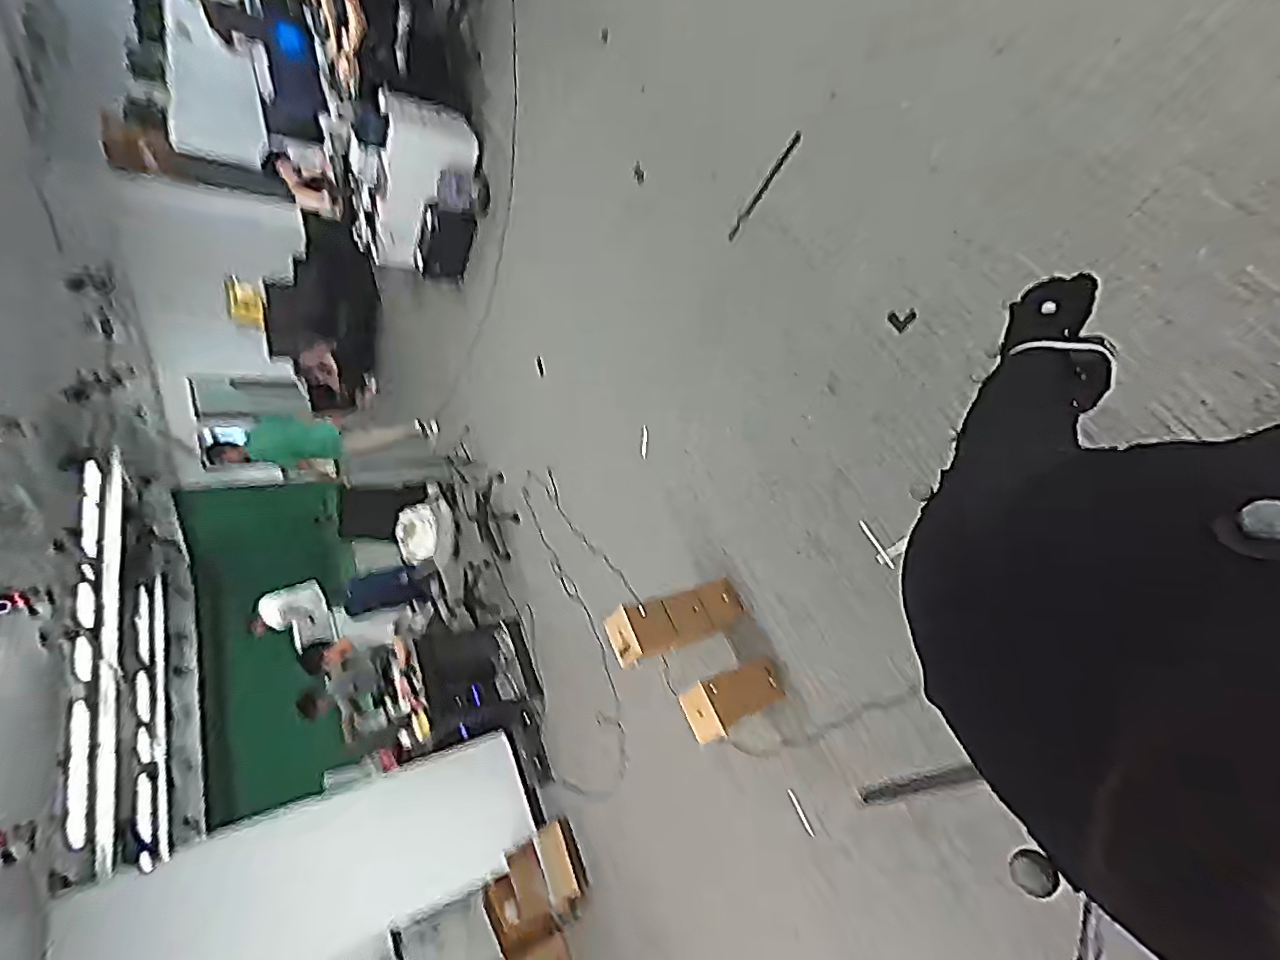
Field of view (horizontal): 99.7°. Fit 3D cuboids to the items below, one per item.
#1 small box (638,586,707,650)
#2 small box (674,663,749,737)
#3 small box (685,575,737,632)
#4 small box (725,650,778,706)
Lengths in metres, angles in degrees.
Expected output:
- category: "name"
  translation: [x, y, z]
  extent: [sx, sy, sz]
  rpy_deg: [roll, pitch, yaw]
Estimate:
- category: "small box"
  translation: [0.124, 0.521, 2.068]
  extent: [0.168, 0.176, 0.179]
  rpy_deg: [-54, 52, 43]
- category: "small box"
  translation: [0.258, 0.783, 1.933]
  extent: [0.168, 0.176, 0.179]
  rpy_deg: [-54, 54, 42]
- category: "small box"
  translation: [0.254, 0.501, 2.168]
  extent: [0.179, 0.176, 0.168]
  rpy_deg: [-53, 54, 42]
- category: "small box"
  translation: [0.383, 0.762, 2.034]
  extent: [0.179, 0.176, 0.168]
  rpy_deg: [-48, 58, 44]
